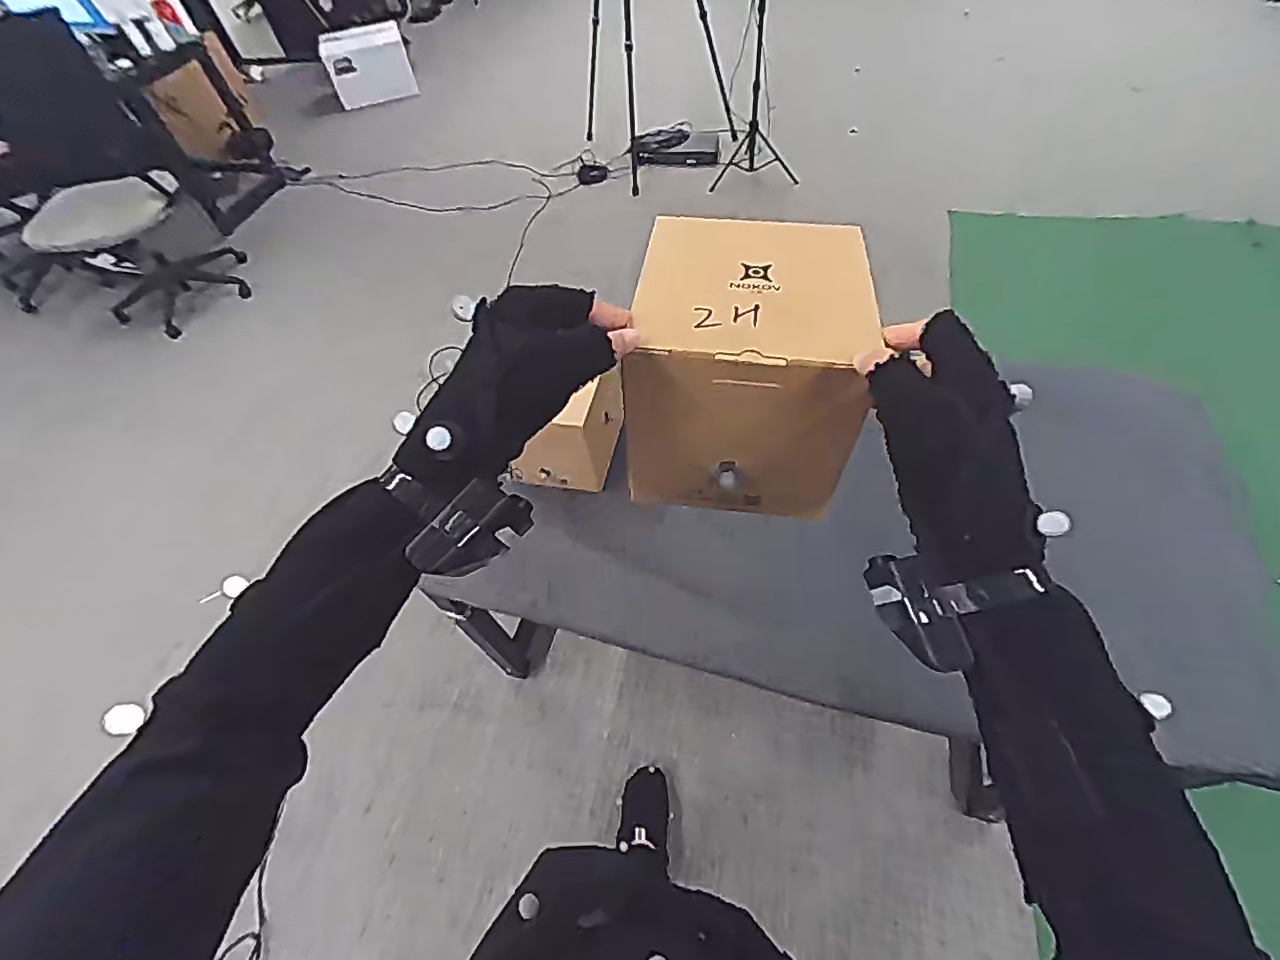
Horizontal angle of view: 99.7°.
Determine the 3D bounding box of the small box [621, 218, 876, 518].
[{"bbox_3d":[0.080,-0.093,0.456,0.168,0.176,0.179,6,53,6],"label":"small box"}]
